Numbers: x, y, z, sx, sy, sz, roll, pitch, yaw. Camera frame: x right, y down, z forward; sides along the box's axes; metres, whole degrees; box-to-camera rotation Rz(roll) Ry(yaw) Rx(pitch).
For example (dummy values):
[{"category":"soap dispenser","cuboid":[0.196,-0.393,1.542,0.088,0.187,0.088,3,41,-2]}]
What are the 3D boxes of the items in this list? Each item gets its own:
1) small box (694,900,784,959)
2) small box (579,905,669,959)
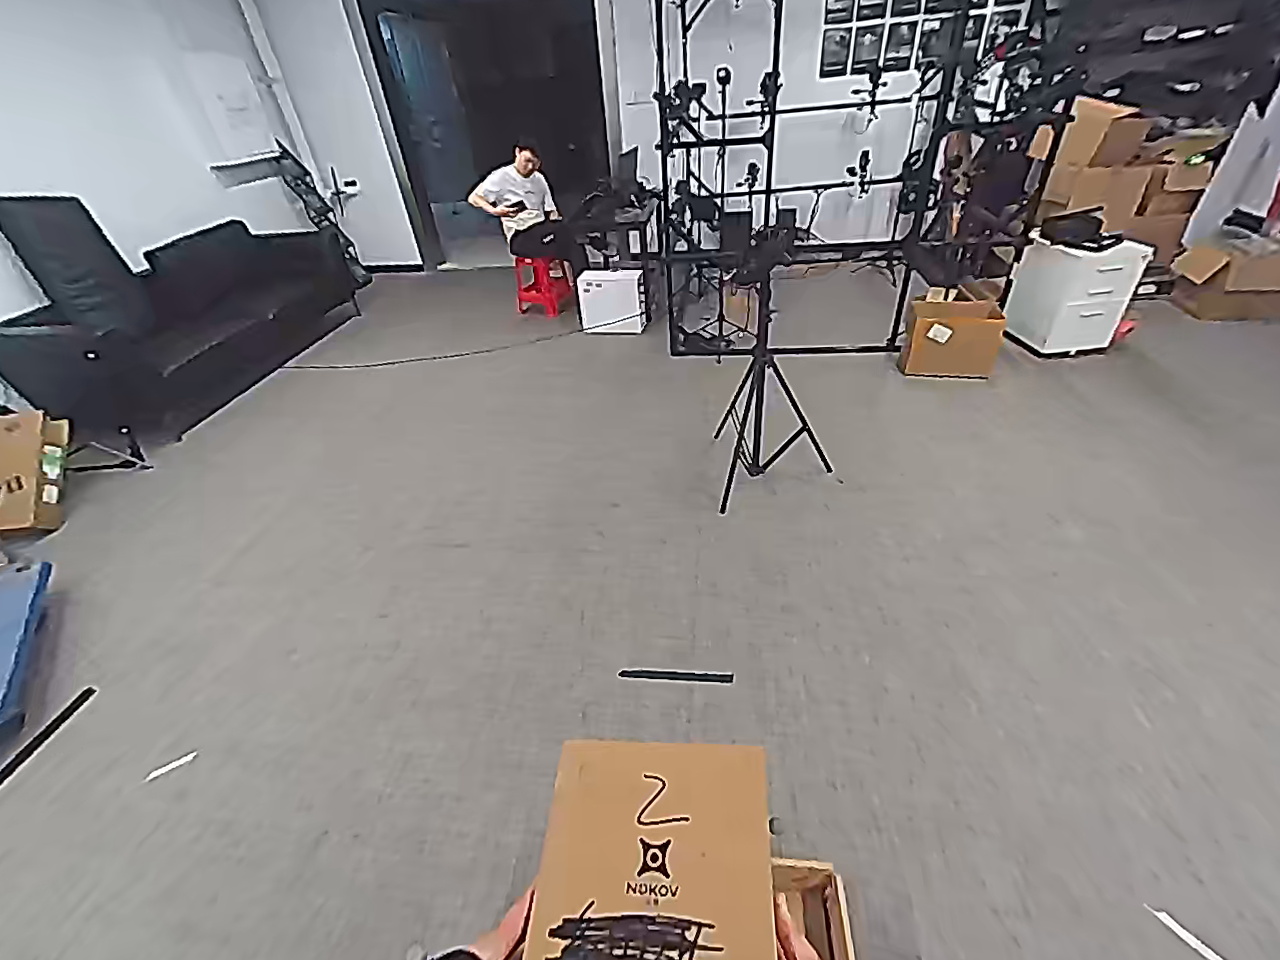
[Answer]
[{"category":"small box","cuboid":[0.187,0.962,1.046,0.168,0.176,0.179,3,38,12]},{"category":"small box","cuboid":[-0.030,0.970,1.058,0.168,0.176,0.179,1,37,5]}]
